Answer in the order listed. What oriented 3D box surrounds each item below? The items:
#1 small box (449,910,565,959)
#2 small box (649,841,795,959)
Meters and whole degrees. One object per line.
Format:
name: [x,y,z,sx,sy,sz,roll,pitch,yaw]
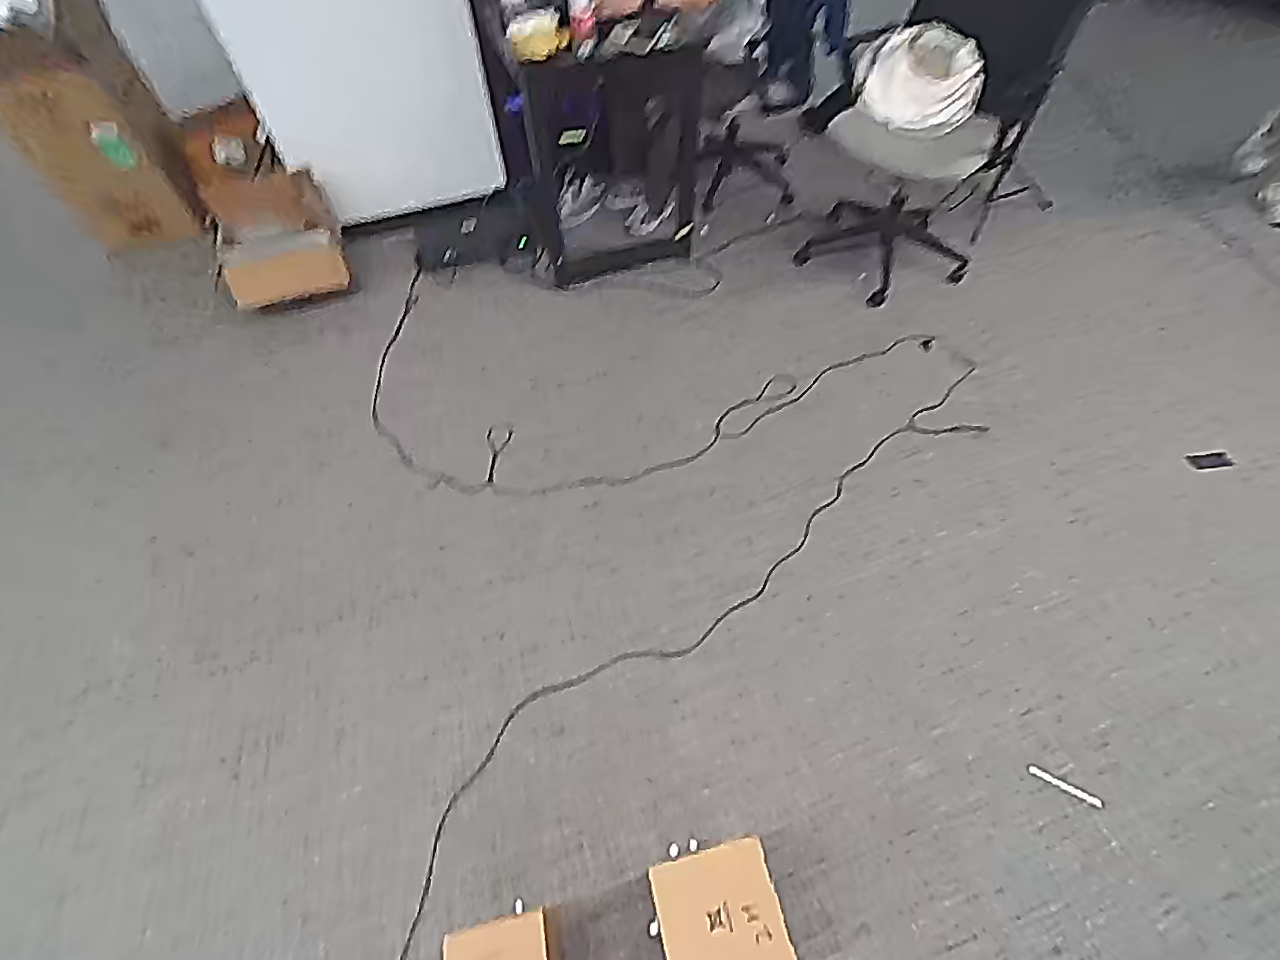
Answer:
small box: [-0.216,0.861,0.915,0.168,0.176,0.179,-11,55,-6]
small box: [0.117,0.676,0.829,0.179,0.176,0.168,-12,55,-7]
